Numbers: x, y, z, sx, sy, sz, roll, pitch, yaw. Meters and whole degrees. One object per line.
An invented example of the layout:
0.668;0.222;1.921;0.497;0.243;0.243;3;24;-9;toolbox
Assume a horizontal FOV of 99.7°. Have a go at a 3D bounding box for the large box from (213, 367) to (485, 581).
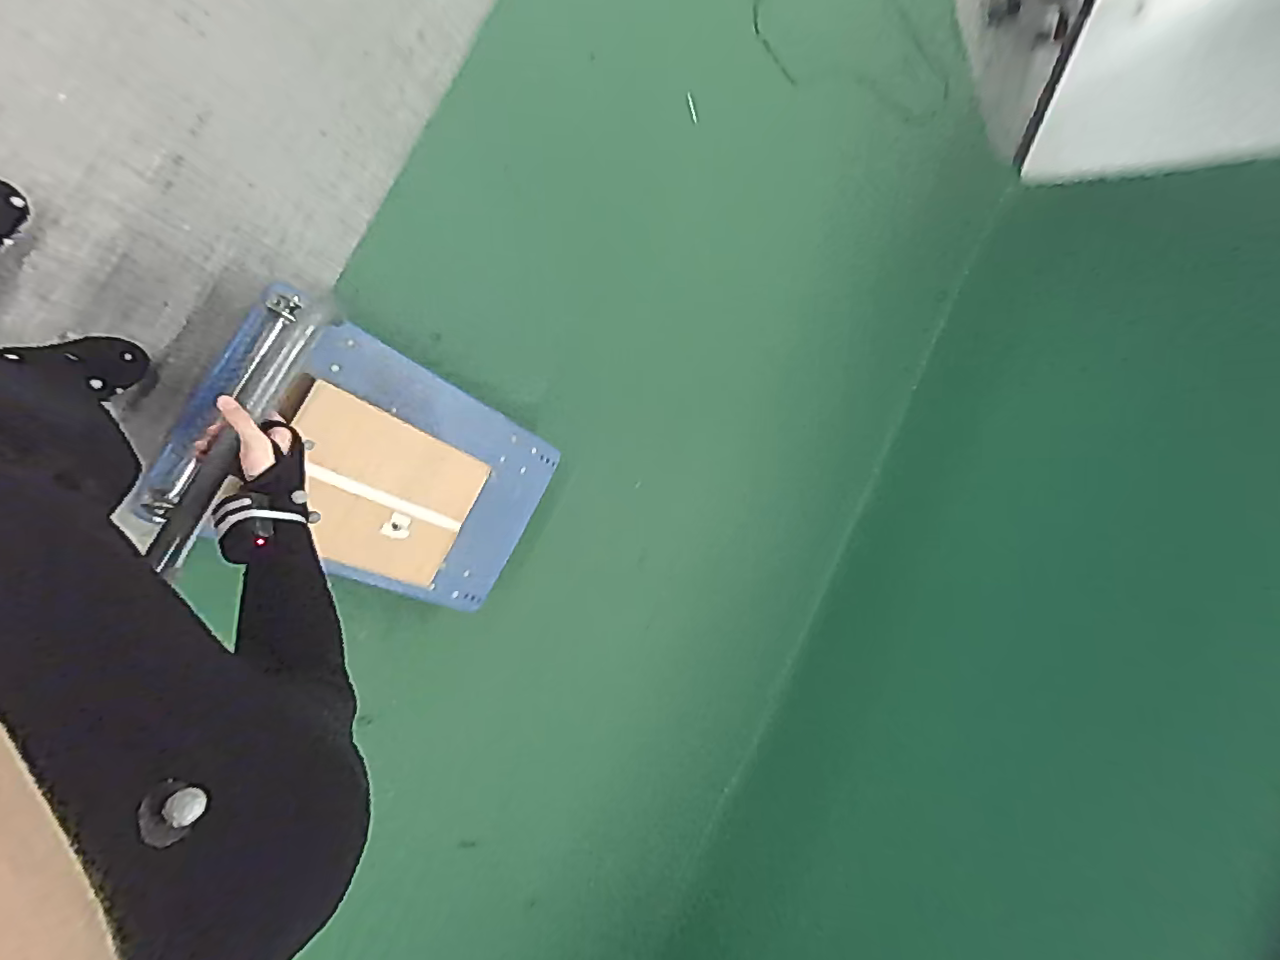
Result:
-0.648;-0.014;1.220;0.408;0.320;0.320;33;82;-44;large box
